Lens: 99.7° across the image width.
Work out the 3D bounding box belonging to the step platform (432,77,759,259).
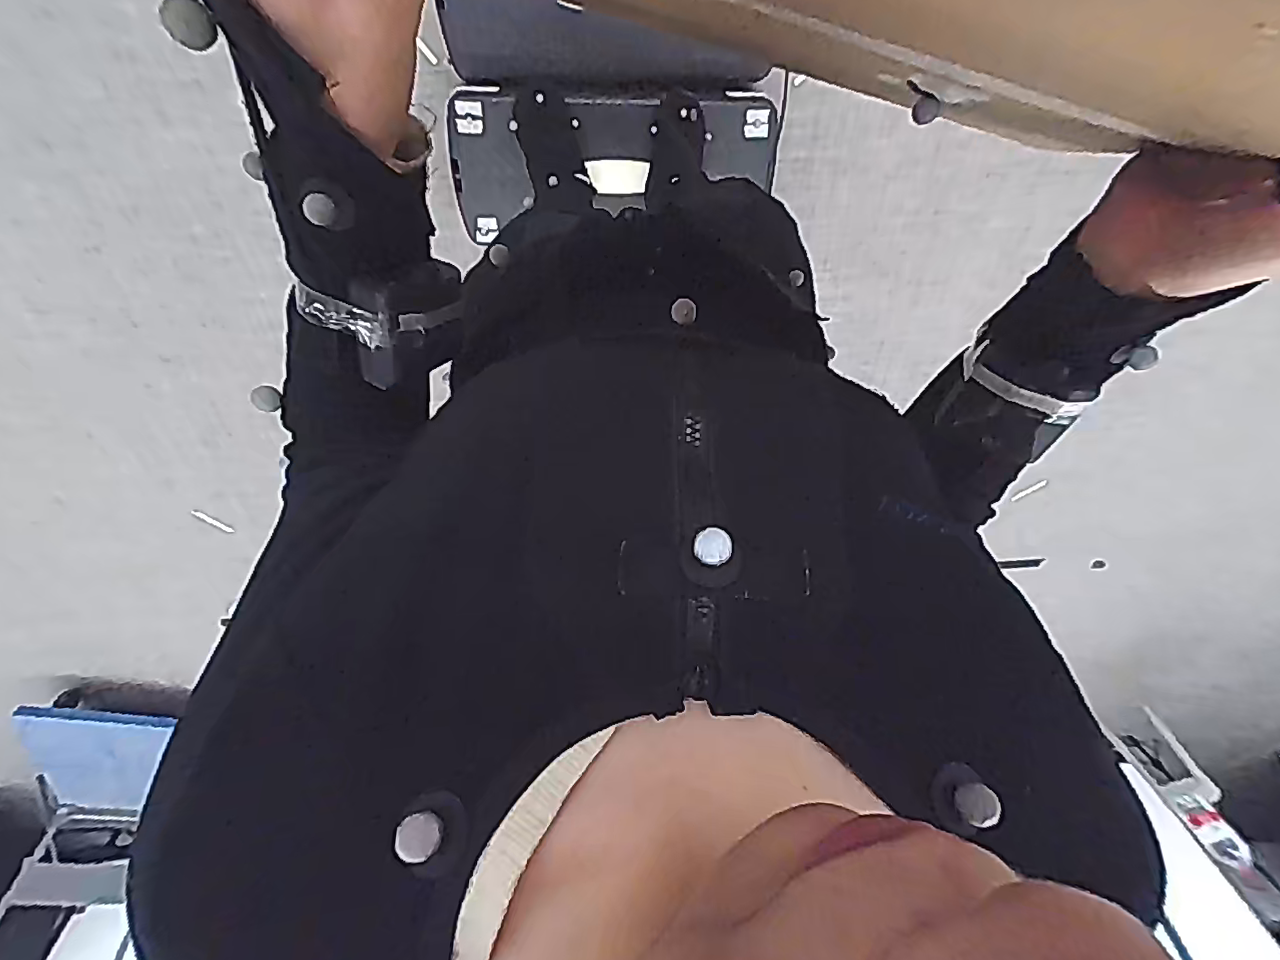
[{"bbox_3d":[-0.090,-0.670,1.184,0.684,0.204,0.286,2,128,-6],"label":"step platform"}]

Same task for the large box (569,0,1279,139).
[{"bbox_3d":[0.102,-0.310,0.129,0.408,0.320,0.320,9,124,-7],"label":"large box"}]
